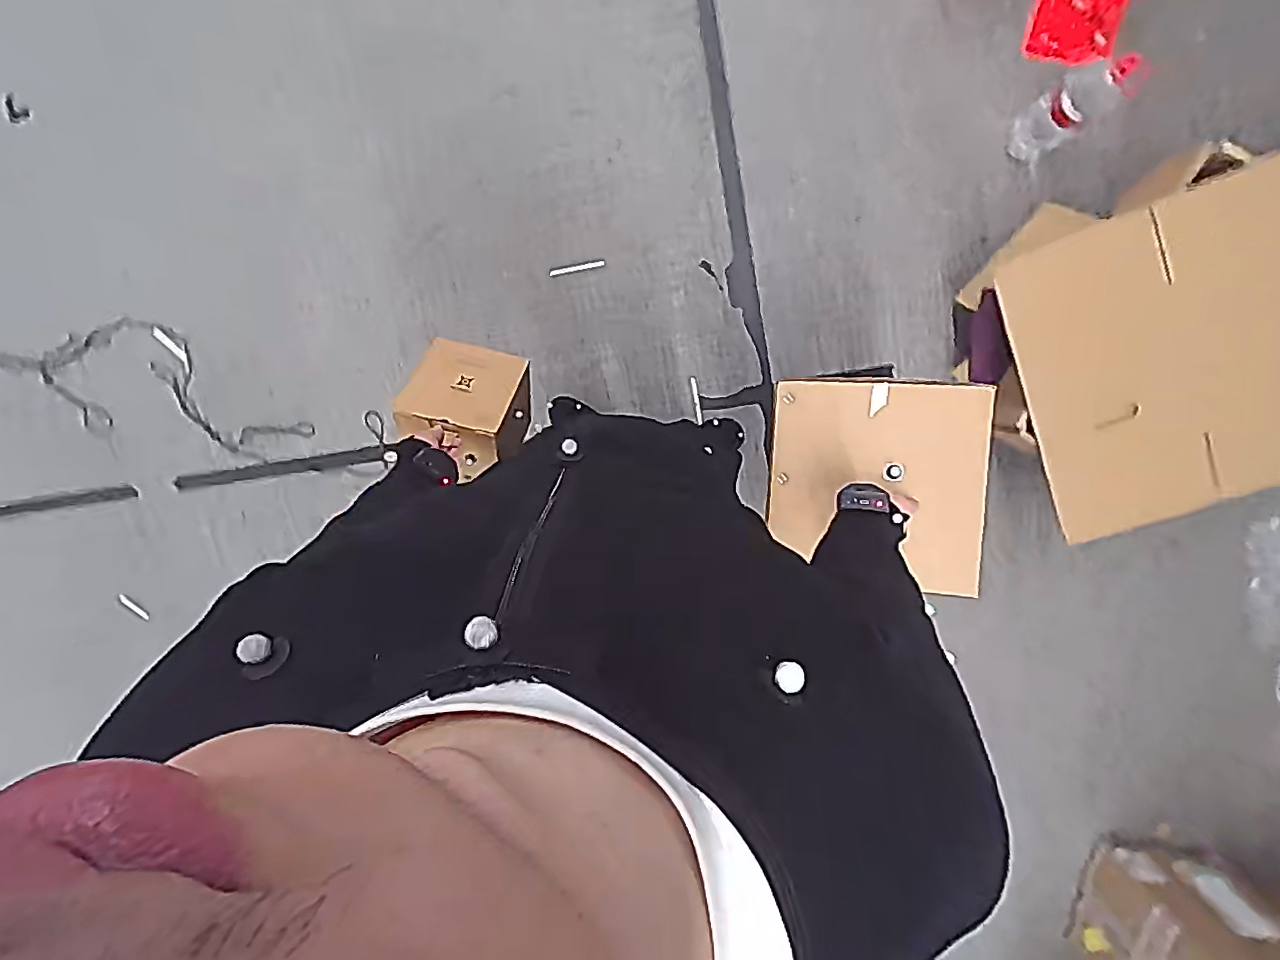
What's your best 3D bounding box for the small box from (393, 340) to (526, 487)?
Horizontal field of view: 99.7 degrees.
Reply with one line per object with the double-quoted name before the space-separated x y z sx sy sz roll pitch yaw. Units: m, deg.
"small box" -0.302 -0.110 0.951 0.168 0.179 0.176 14 147 -2
